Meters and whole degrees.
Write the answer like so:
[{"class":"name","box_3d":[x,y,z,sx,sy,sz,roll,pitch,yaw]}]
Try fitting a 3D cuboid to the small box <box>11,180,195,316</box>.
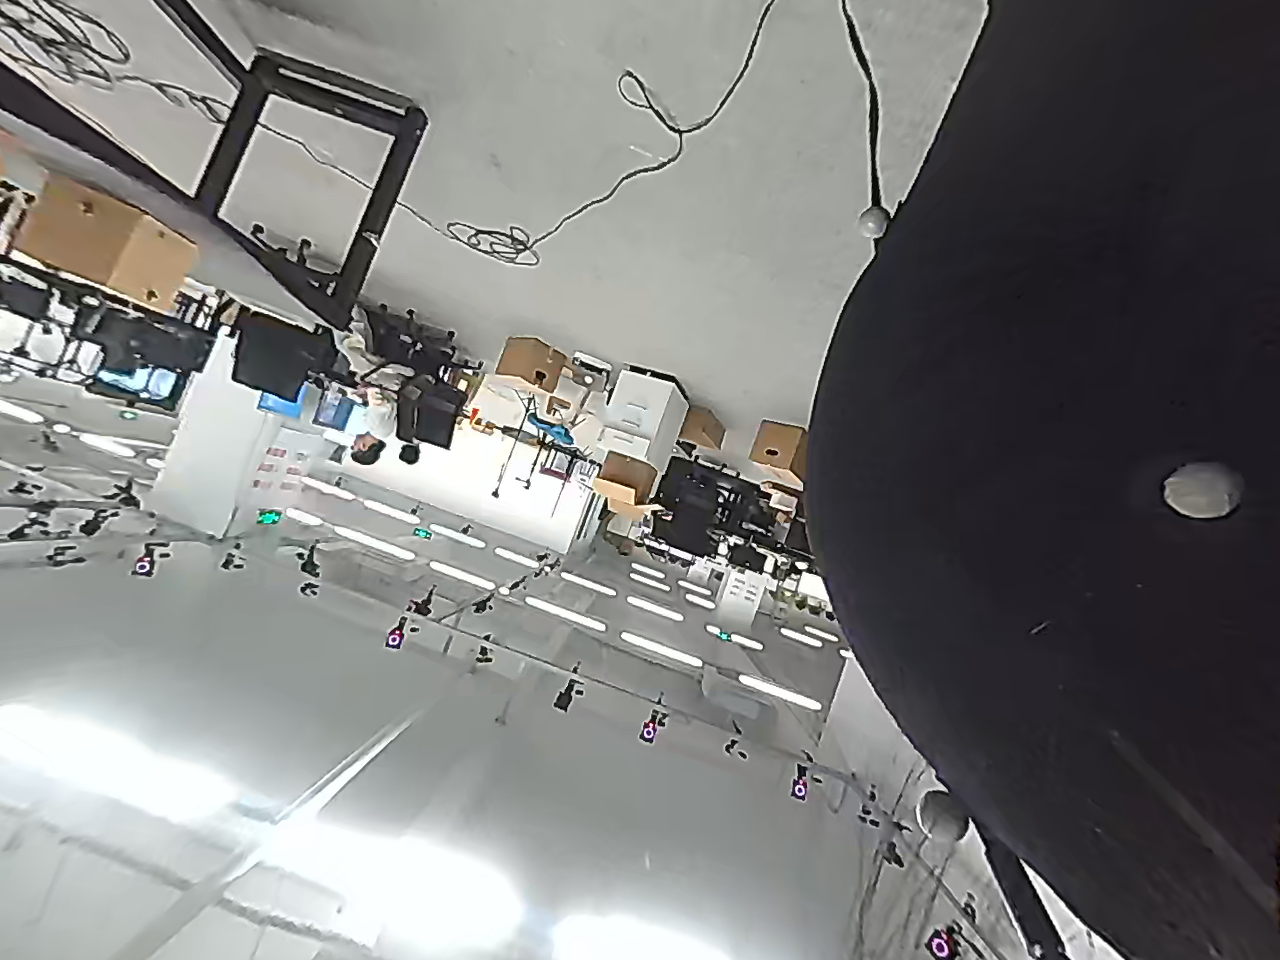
[{"class":"small box","box_3d":[-1.070,-0.468,1.096,0.179,0.176,0.168,23,176,-8]}]
